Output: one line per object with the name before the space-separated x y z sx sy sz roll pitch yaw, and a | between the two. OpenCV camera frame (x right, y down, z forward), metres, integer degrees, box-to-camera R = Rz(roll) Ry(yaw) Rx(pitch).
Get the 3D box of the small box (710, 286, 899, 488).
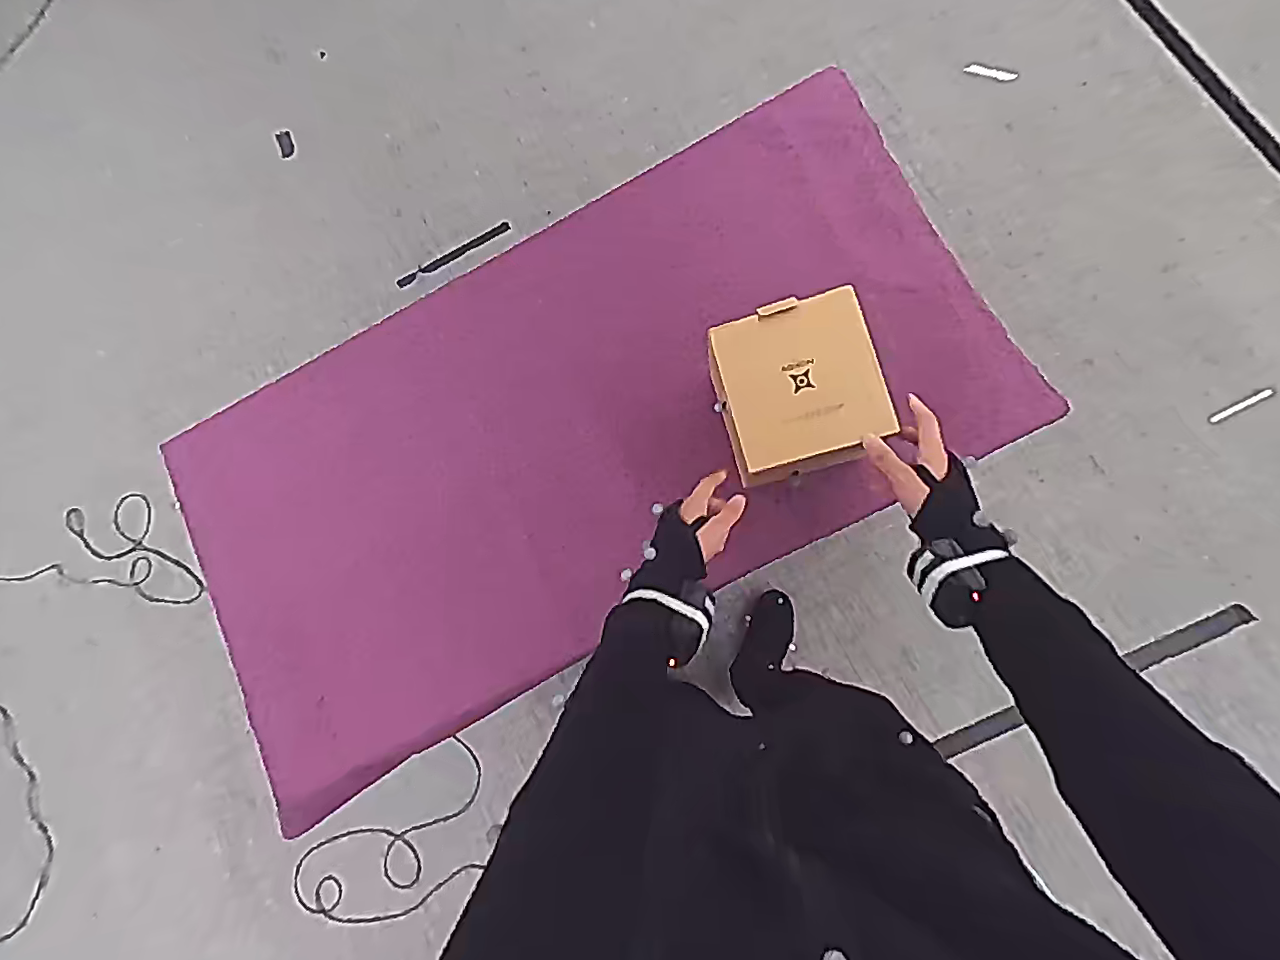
small box | 0.185 -0.100 0.663 0.168 0.176 0.179 -15 81 7
